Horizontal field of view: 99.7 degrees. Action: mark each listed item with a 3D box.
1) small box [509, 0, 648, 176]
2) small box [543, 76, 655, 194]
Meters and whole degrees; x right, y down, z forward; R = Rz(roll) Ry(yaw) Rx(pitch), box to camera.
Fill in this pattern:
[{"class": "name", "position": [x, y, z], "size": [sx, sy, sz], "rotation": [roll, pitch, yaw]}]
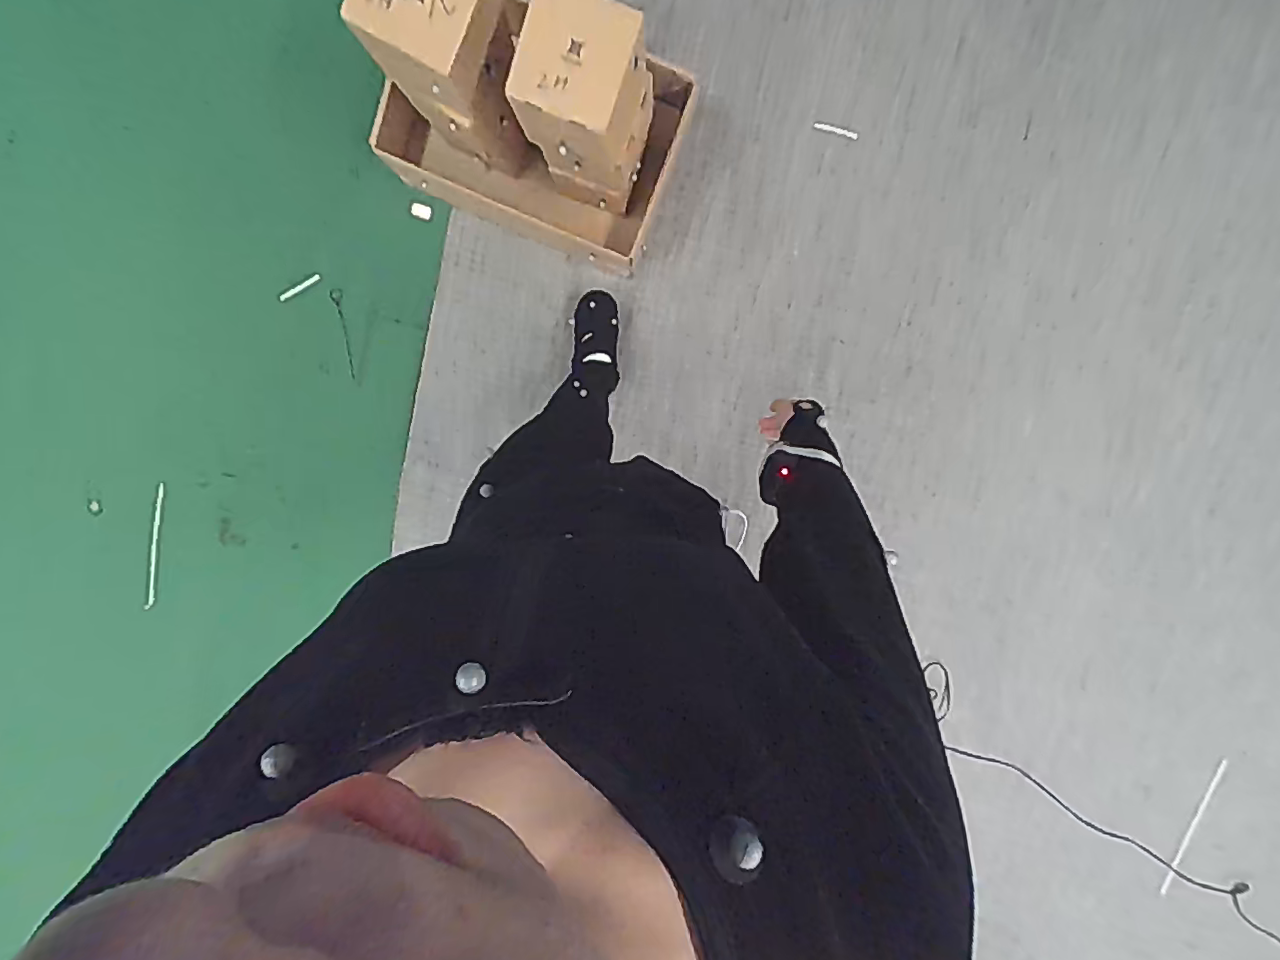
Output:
[{"class": "small box", "position": [-0.094, -0.645, 0.891], "size": [0.168, 0.176, 0.179], "rotation": [21, 101, -2]}, {"class": "small box", "position": [-0.079, -0.684, 1.051], "size": [0.179, 0.176, 0.168], "rotation": [21, 101, -1]}]
